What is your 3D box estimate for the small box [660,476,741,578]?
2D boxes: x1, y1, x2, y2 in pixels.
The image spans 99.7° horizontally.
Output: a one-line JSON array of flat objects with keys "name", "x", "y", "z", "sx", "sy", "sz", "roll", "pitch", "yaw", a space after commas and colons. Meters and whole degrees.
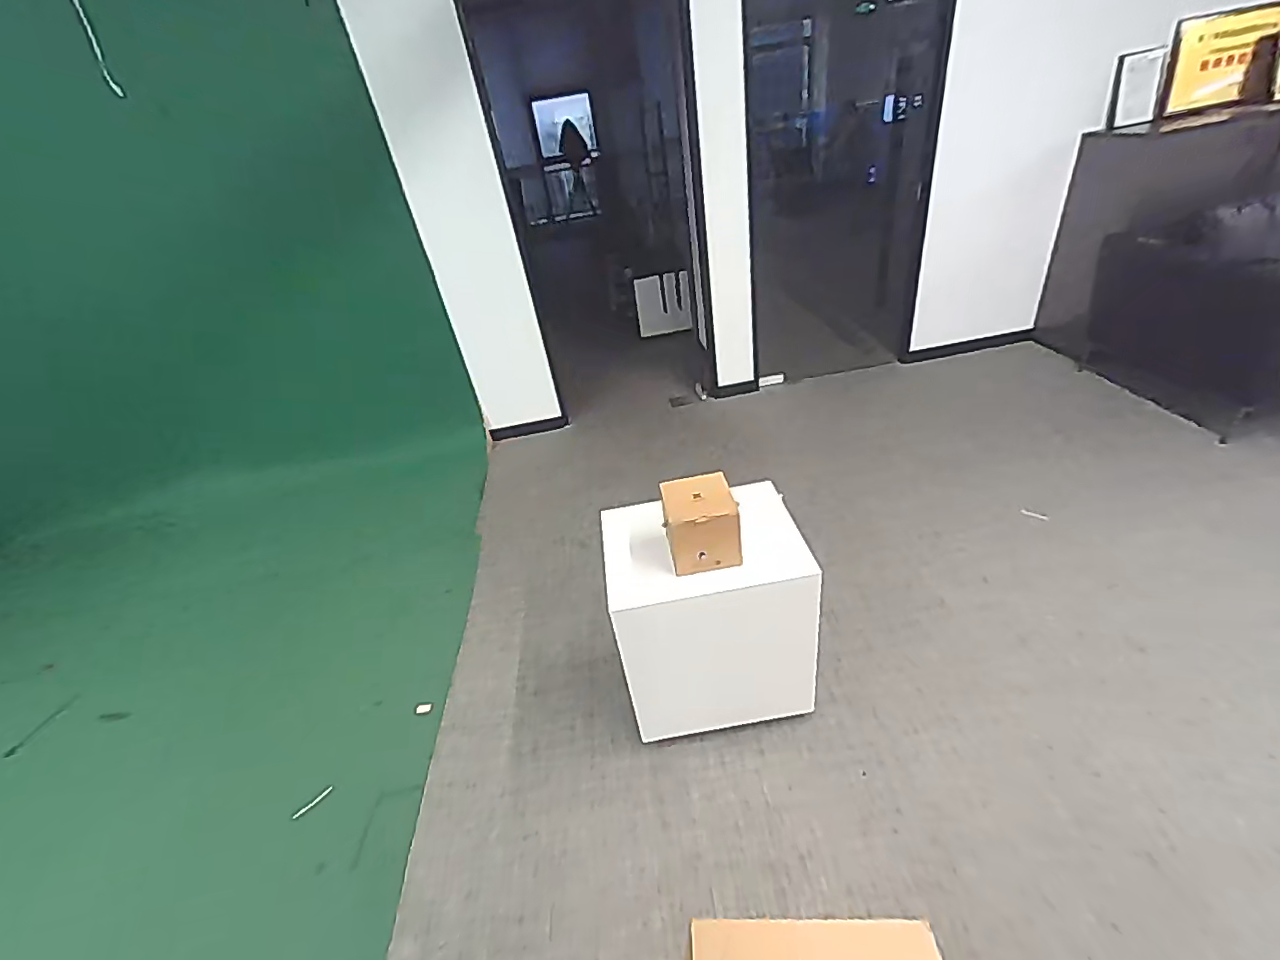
[{"name": "small box", "x": 0.148, "y": 0.114, "z": 1.335, "sx": 0.168, "sy": 0.176, "sz": 0.179, "roll": -11, "pitch": 33, "yaw": -1}]
